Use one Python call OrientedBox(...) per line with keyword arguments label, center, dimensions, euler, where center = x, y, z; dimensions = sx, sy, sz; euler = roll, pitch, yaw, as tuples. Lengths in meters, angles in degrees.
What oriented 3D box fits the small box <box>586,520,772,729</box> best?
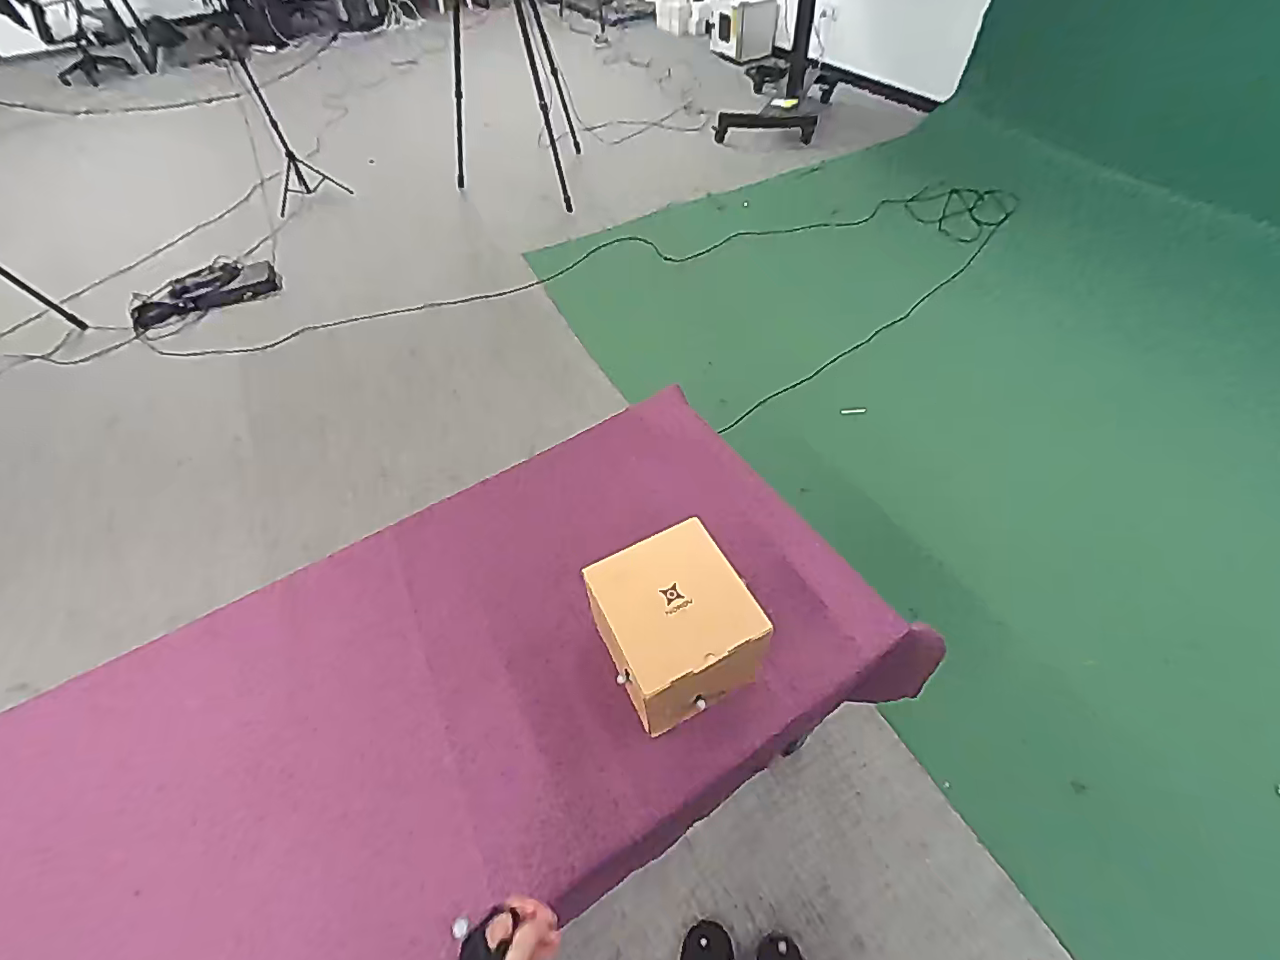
OrientedBox(label="small box", center=(0.045, 0.189, 0.704), dimensions=(0.168, 0.176, 0.179), euler=(-24, 55, -14))
